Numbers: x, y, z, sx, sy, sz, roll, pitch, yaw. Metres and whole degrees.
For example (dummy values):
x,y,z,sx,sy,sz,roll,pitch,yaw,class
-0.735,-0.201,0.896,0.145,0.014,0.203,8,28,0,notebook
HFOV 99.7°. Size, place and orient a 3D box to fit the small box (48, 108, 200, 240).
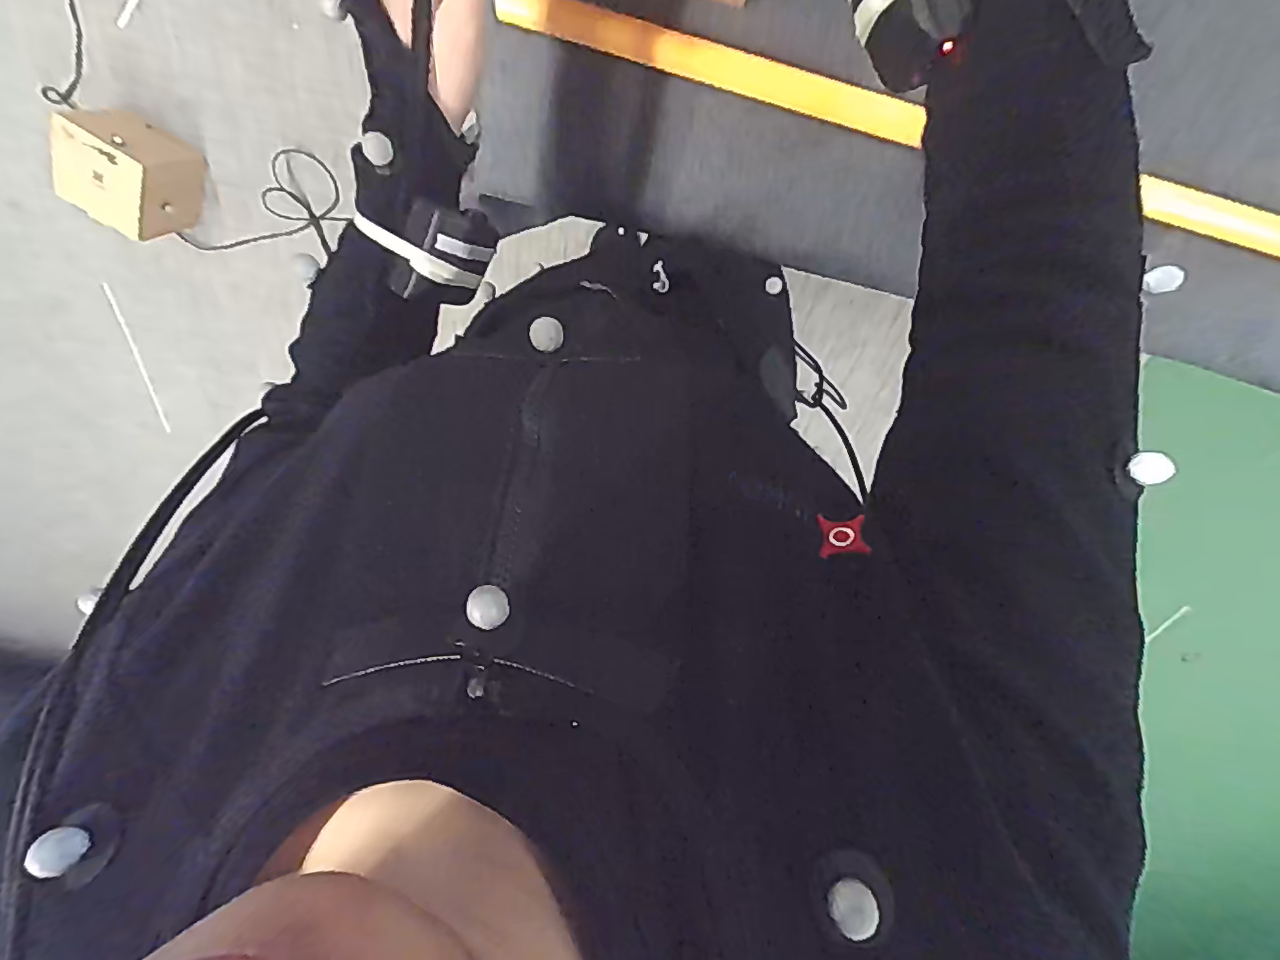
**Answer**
x,y,z,sx,sy,sz,roll,pitch,yaw,class
-1.081,-0.650,1.145,0.168,0.176,0.179,31,124,-14,small box
